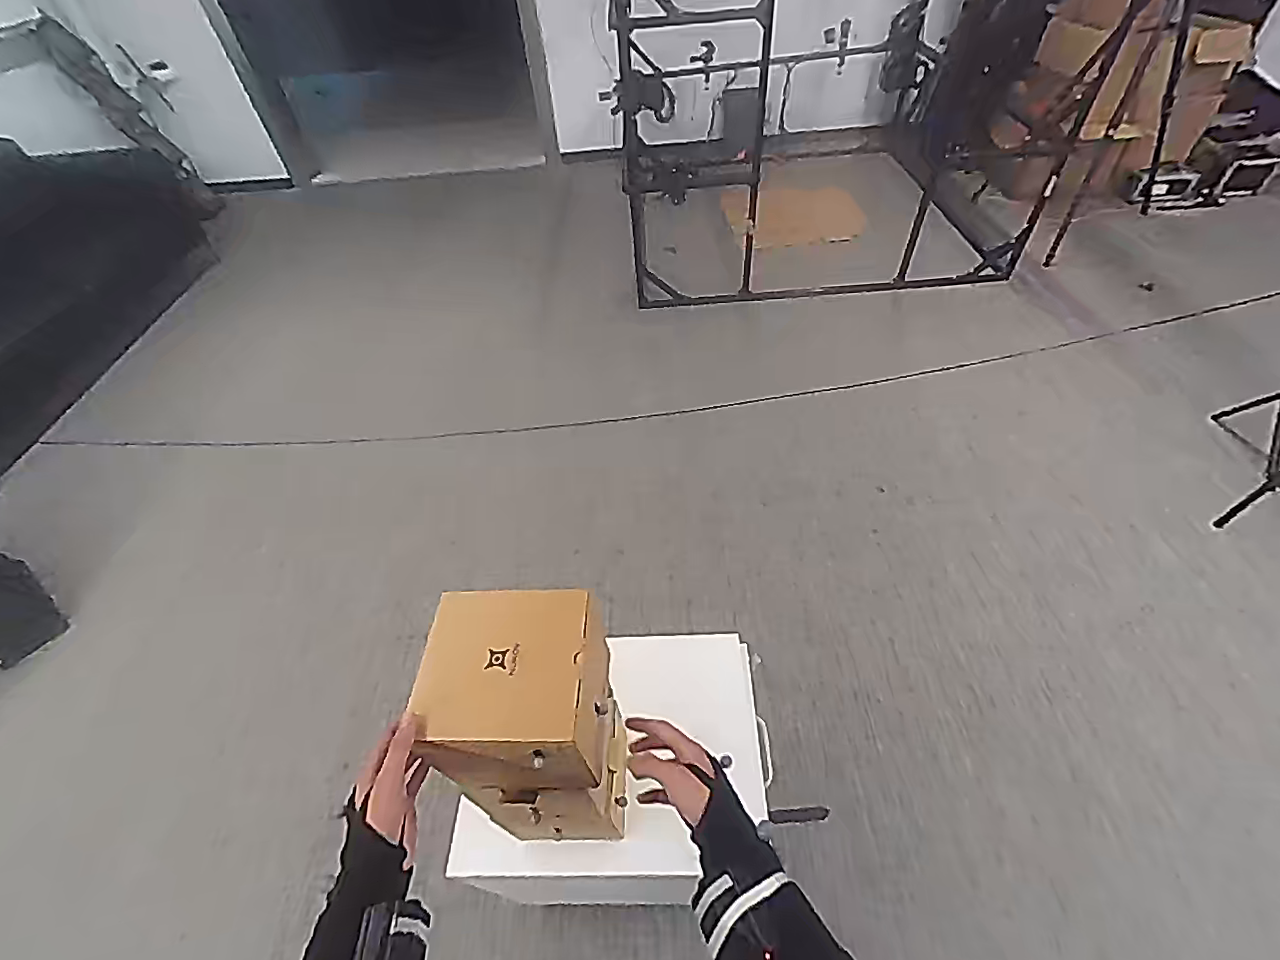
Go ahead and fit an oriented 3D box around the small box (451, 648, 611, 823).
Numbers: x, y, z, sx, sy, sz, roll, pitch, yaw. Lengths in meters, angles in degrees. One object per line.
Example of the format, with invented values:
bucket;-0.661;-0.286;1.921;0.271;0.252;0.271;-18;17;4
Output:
small box;-0.134;0.352;0.747;0.168;0.176;0.179;-1;48;6
